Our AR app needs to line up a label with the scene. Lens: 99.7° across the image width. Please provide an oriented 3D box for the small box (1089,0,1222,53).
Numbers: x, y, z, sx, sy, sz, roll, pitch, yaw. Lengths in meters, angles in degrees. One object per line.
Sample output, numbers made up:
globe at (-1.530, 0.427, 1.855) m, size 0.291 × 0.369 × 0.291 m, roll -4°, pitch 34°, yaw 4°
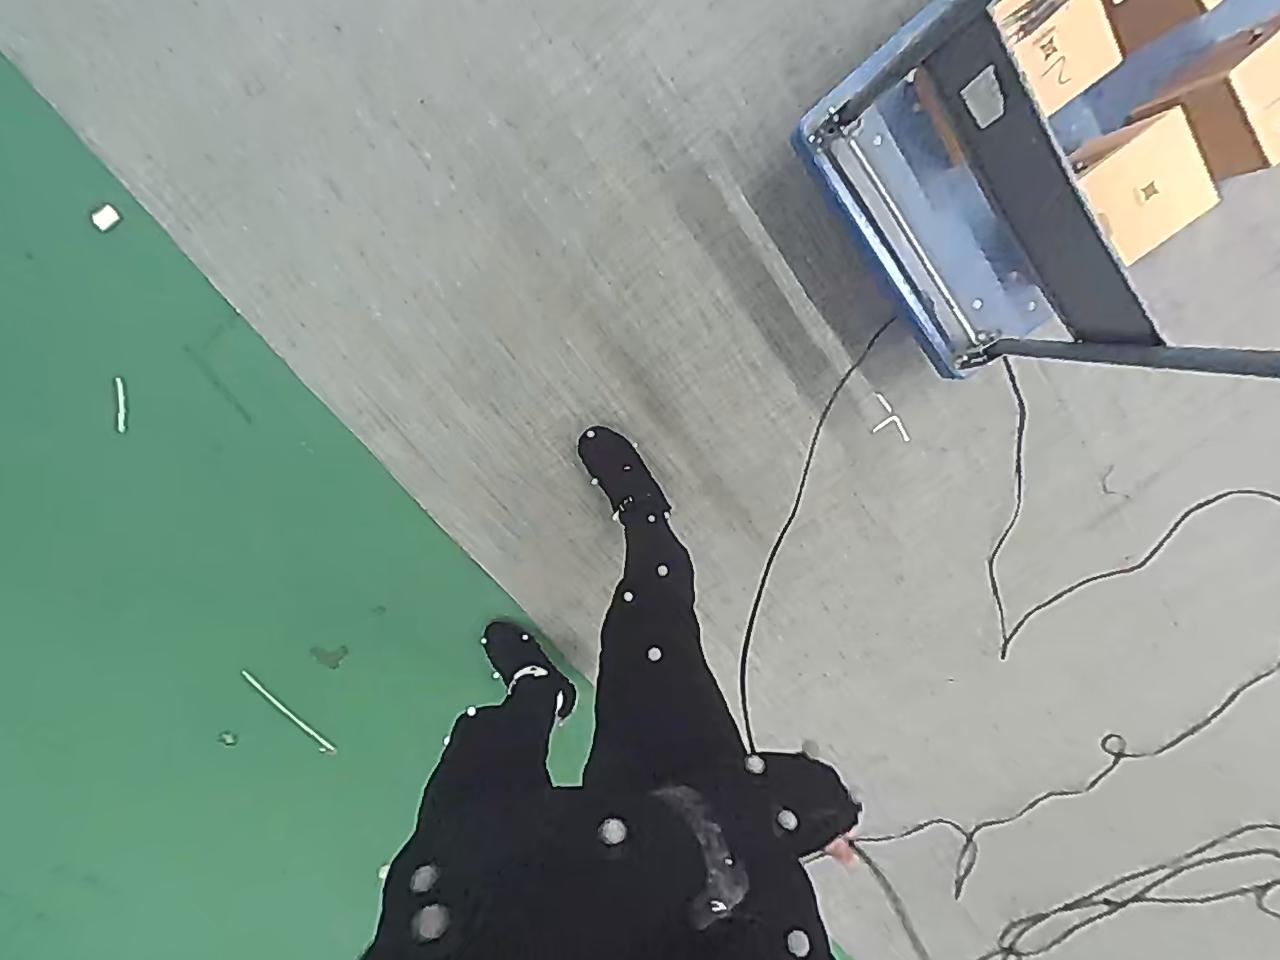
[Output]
small box at (0.809, -0.795, 0.799) m, size 0.179 × 0.176 × 0.168 m, roll -42°, pitch 104°, yaw 9°

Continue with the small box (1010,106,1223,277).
small box at (0.773, -0.461, 0.896) m, size 0.179 × 0.176 × 0.168 m, roll -36°, pitch 104°, yaw 8°

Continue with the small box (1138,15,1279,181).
small box at (0.971, -0.607, 0.860) m, size 0.179 × 0.176 × 0.168 m, roll -40°, pitch 103°, yaw 9°
